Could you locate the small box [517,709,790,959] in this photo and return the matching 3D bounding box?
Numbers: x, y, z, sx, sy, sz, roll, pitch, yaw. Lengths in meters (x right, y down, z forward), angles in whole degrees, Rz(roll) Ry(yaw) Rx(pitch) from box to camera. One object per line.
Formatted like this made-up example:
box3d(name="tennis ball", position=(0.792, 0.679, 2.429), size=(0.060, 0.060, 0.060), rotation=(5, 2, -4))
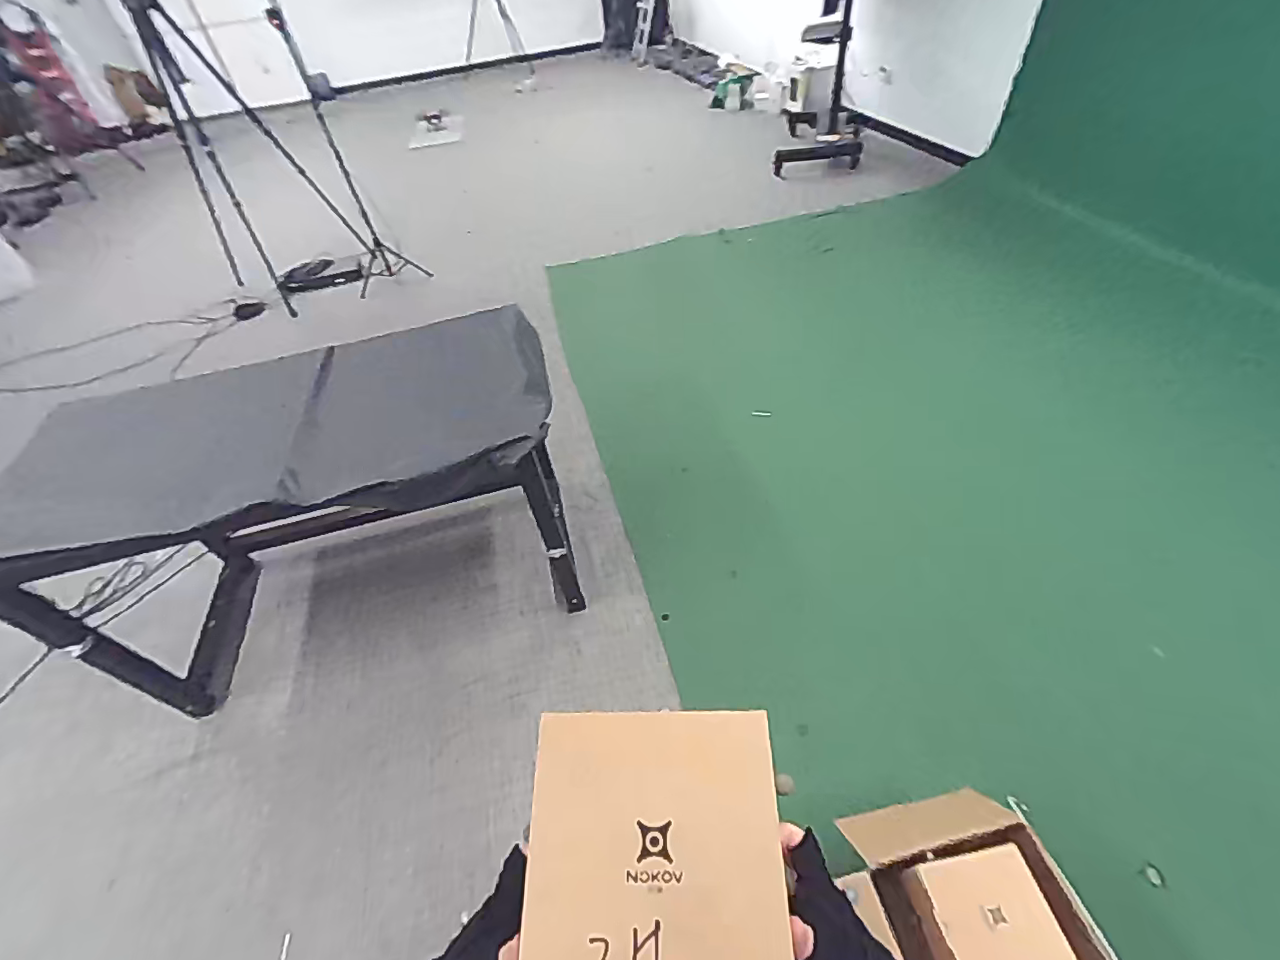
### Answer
box3d(name="small box", position=(0.013, 0.284, 0.416), size=(0.168, 0.176, 0.179), rotation=(-2, 59, 4))
